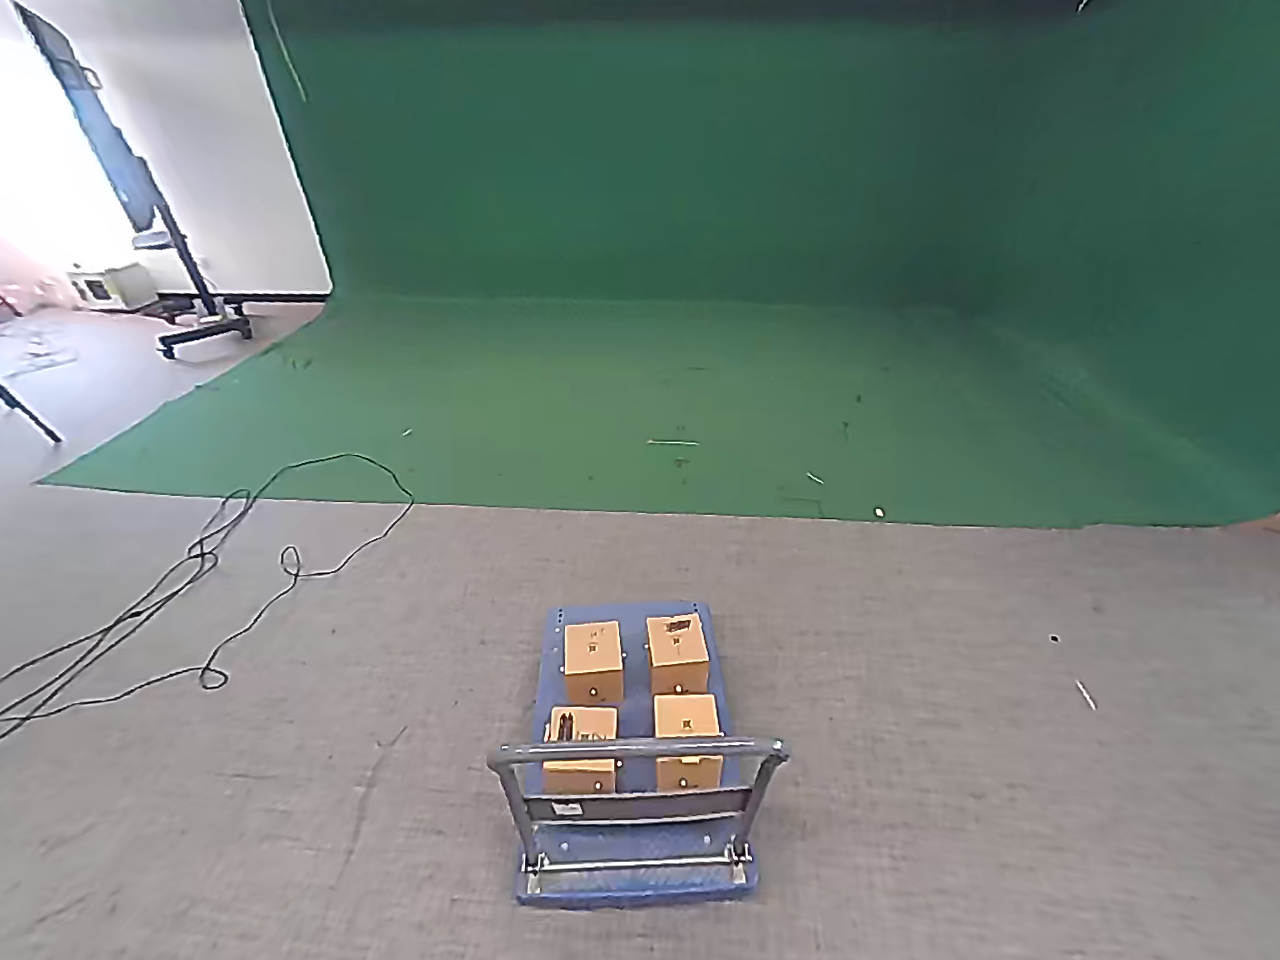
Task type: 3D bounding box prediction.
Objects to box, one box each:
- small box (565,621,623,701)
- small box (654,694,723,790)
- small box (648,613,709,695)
[{"bbox_3d":[-0.138,0.554,1.640,0.168,0.176,0.179,-3,37,-5],"label":"small box"},{"bbox_3d":[0.123,0.699,1.445,0.168,0.176,0.179,-1,37,-1],"label":"small box"},{"bbox_3d":[0.112,0.536,1.661,0.168,0.176,0.179,-4,38,-4],"label":"small box"}]
